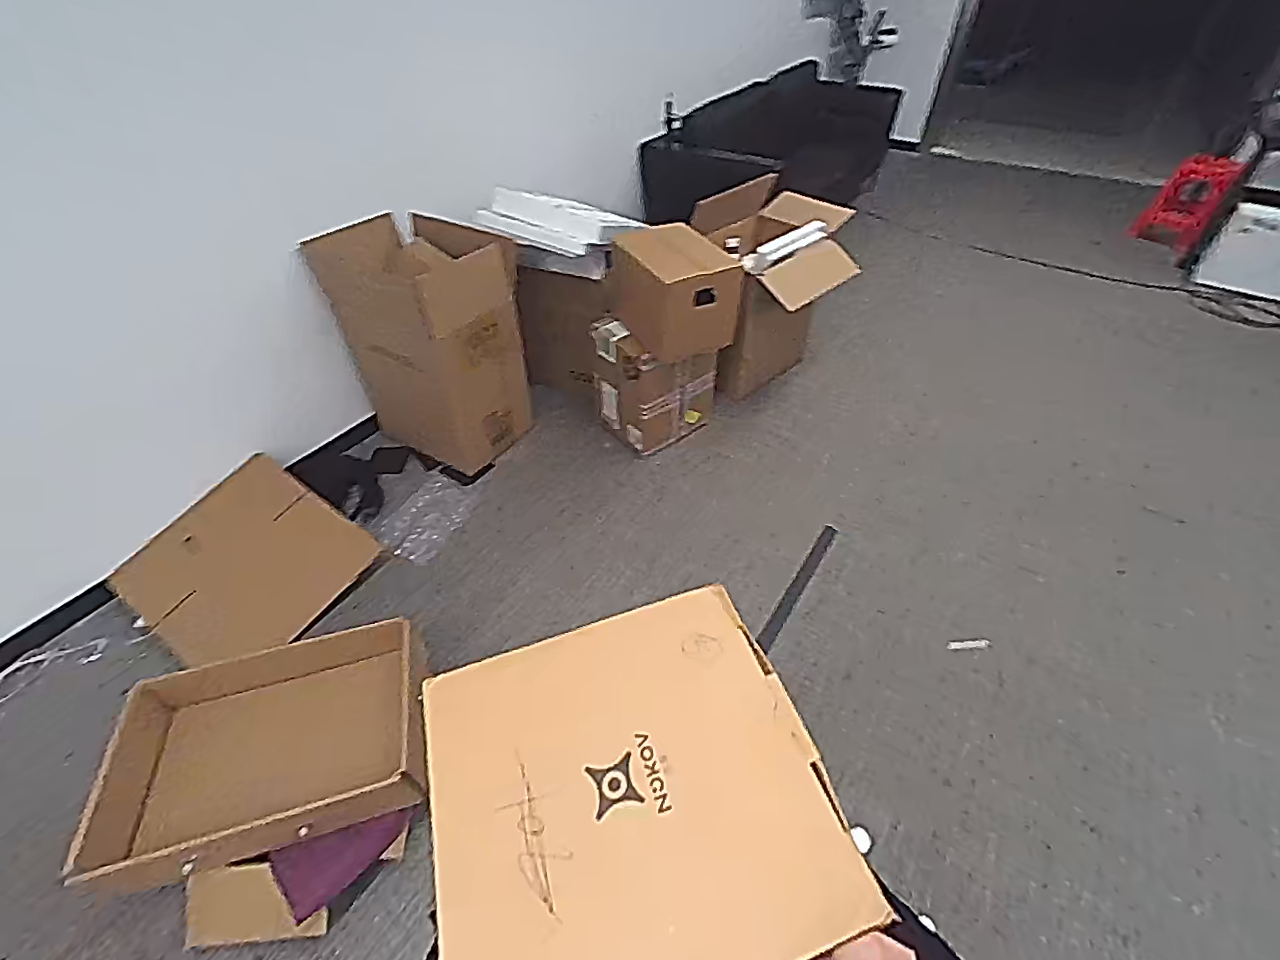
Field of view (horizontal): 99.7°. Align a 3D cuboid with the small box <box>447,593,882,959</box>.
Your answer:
[{"bbox_3d":[0.003,0.200,0.322,0.179,0.176,0.168,-16,47,-9],"label":"small box"}]
